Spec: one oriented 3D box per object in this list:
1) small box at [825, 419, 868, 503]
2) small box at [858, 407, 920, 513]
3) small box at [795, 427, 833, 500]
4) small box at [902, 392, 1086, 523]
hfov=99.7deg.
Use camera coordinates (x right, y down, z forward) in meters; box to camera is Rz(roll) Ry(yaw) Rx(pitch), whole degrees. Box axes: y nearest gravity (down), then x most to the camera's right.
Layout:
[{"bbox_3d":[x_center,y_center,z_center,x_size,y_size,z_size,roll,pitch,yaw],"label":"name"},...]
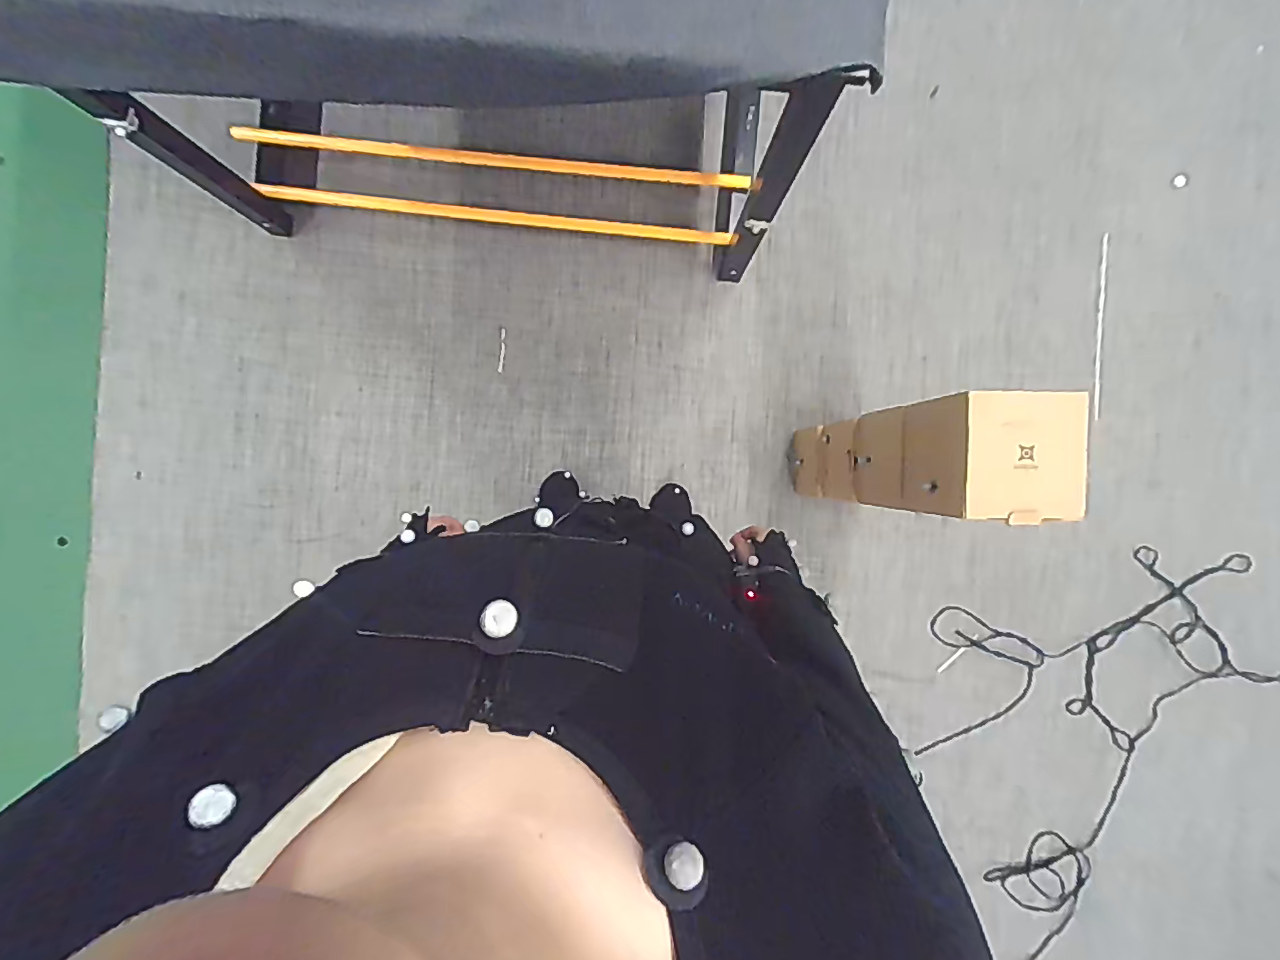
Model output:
[{"bbox_3d":[0.497,-0.036,1.127,0.179,0.176,0.168,0,91,-2],"label":"small box"},{"bbox_3d":[0.504,-0.035,0.964,0.168,0.176,0.179,0,91,-1],"label":"small box"},{"bbox_3d":[0.482,-0.039,1.291,0.179,0.176,0.168,-1,90,0],"label":"small box"},{"bbox_3d":[0.510,-0.031,0.801,0.168,0.176,0.179,0,90,-2],"label":"small box"}]
